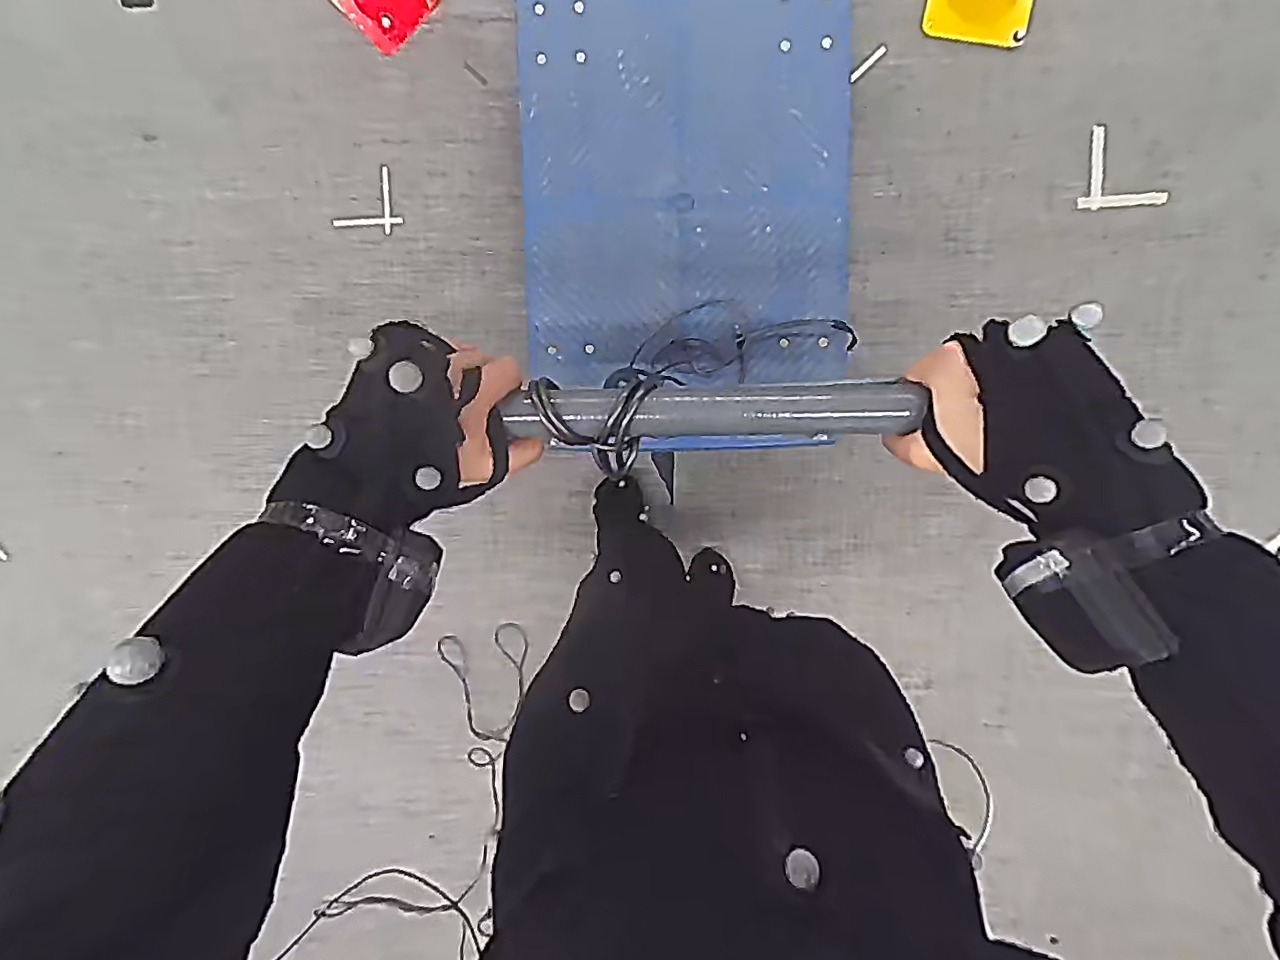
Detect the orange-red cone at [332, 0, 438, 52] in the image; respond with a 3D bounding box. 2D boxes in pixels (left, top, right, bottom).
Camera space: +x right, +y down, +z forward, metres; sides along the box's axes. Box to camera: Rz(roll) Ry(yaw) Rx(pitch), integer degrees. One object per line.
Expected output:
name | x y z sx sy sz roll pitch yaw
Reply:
orange-red cone | -0.526 -0.992 0.931 0.199 0.360 0.198 -44 93 5
